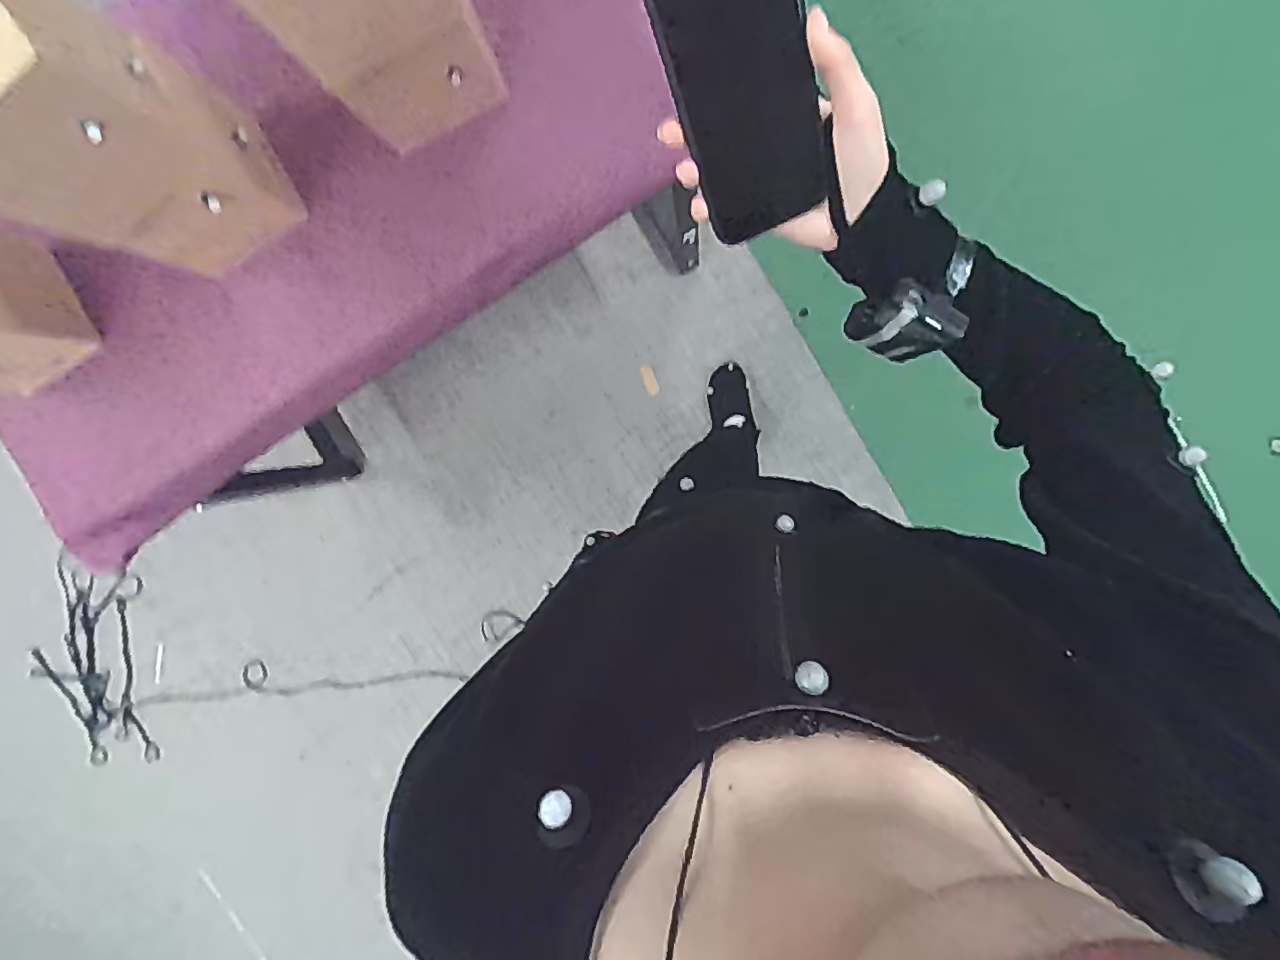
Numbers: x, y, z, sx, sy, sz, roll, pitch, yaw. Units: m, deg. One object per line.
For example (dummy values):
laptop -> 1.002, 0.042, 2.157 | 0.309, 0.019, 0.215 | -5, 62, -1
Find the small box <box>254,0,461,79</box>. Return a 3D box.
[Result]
small box -> -0.296, -0.528, 0.498 | 0.179, 0.176, 0.168 | -23, 92, 8

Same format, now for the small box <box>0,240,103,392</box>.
small box -> -0.942, -0.235, 0.770 | 0.168, 0.176, 0.179 | -28, 91, 9

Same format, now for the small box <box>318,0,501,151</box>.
small box -> -0.291, -0.553, 0.661 | 0.179, 0.176, 0.168 | -22, 92, 9
